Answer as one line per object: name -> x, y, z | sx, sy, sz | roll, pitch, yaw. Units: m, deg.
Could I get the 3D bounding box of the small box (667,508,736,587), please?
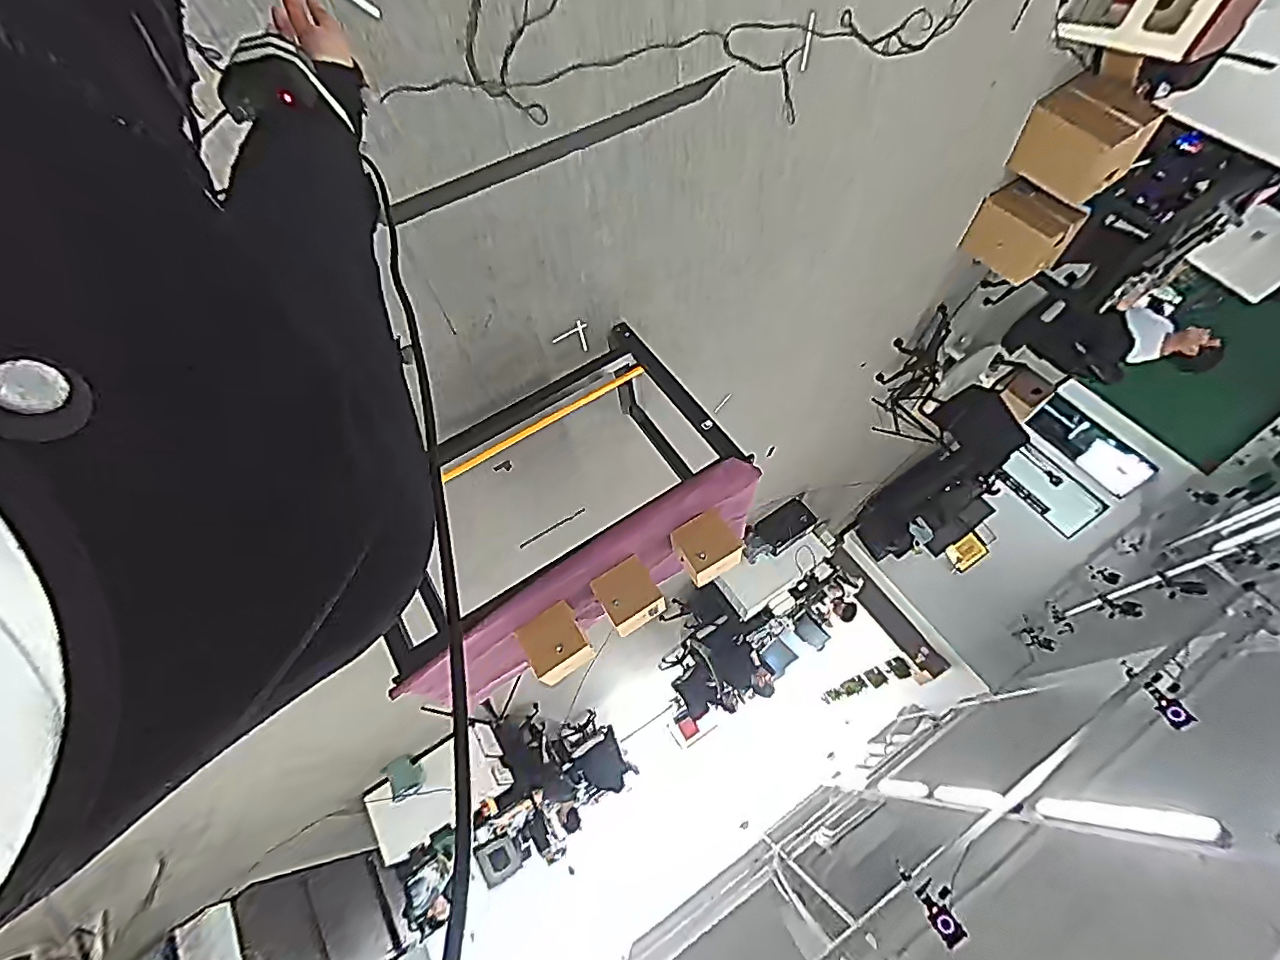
small box -> 0.199, 0.226, 1.809 | 0.179, 0.176, 0.168 | -30, 155, -9

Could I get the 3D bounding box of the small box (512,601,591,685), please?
small box -> -0.279, 0.507, 1.684 | 0.179, 0.176, 0.168 | -33, 155, -11
